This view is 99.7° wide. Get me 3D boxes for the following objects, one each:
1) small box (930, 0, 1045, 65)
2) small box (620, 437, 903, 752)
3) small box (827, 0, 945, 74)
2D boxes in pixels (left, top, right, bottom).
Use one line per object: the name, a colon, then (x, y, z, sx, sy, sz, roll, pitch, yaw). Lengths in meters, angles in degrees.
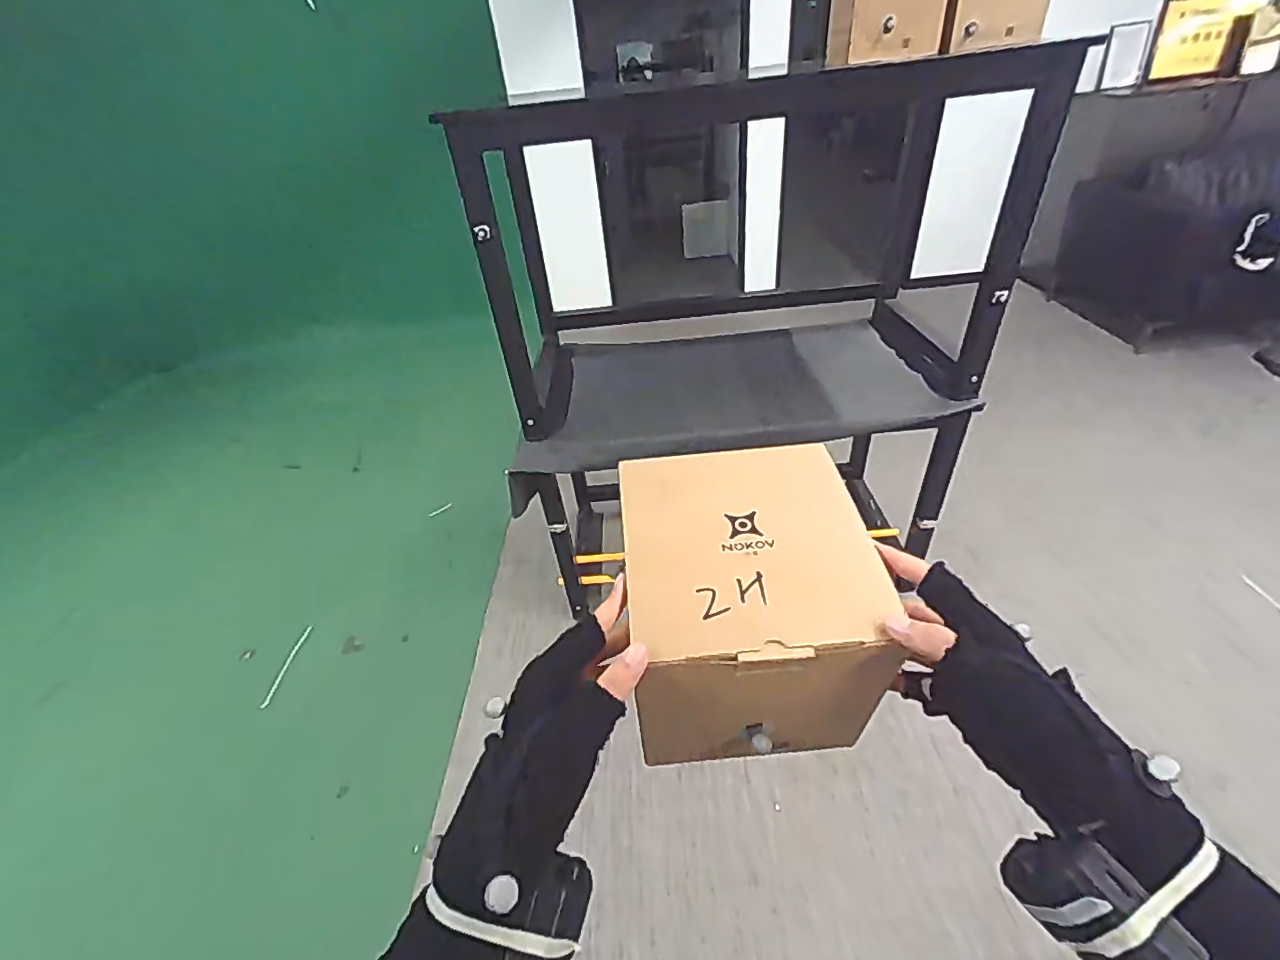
small box: (0.652, -0.912, 1.033, 0.168, 0.176, 0.179, -4, 36, 5)
small box: (0.072, 0.088, 0.427, 0.168, 0.176, 0.179, -5, 43, 0)
small box: (0.471, -0.895, 1.044, 0.168, 0.176, 0.179, -3, 38, 5)
